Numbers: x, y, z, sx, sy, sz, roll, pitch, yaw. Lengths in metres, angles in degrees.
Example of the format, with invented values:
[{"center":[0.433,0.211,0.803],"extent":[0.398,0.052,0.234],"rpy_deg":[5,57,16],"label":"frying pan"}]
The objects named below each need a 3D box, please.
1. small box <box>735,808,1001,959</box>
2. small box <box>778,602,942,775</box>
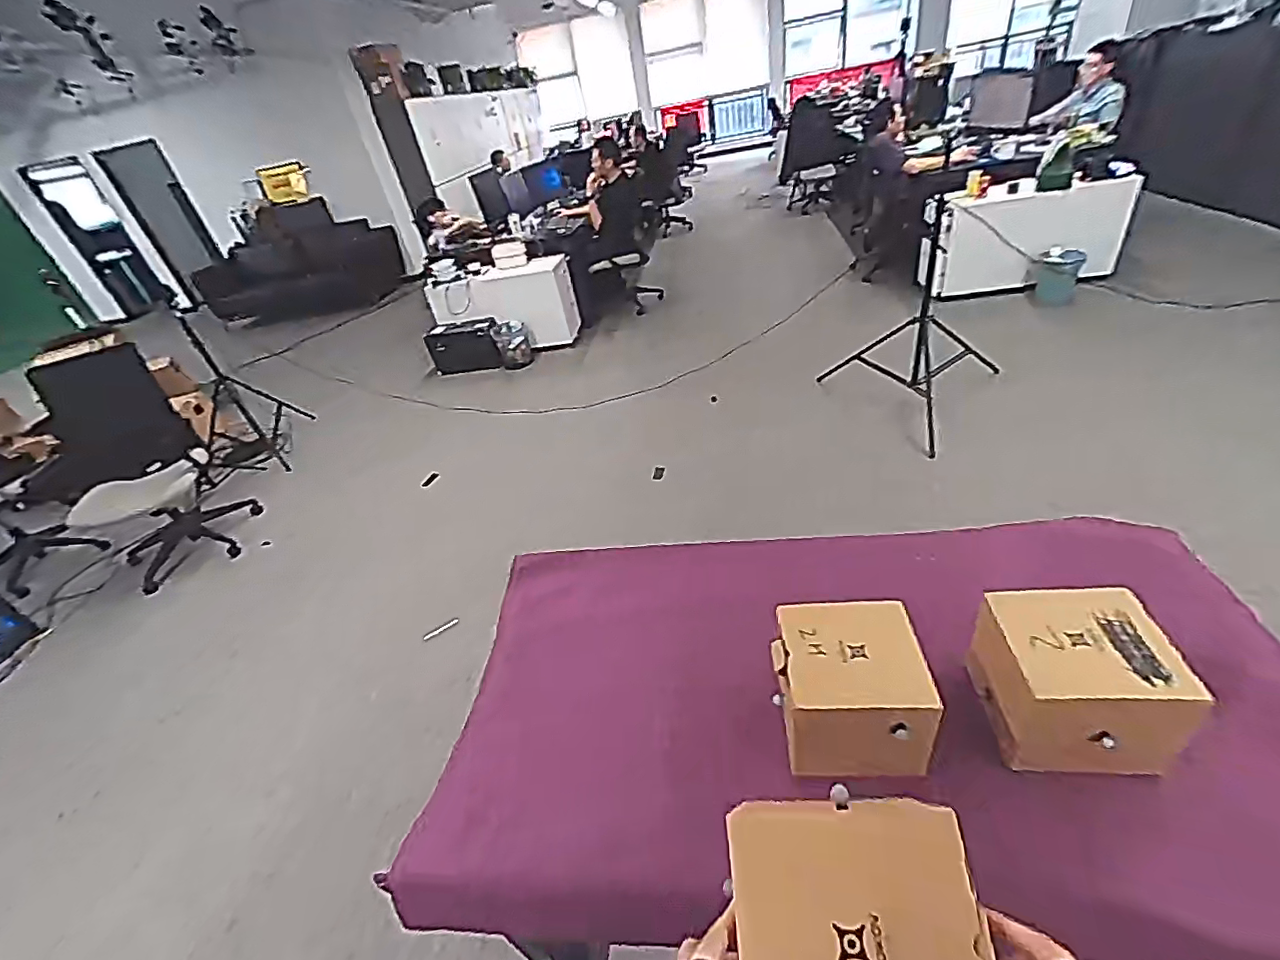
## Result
[{"center":[0.180,0.374,0.454],"extent":[0.179,0.176,0.168],"rpy_deg":[-7,58,10],"label":"small box"},{"center":[0.292,0.293,0.760],"extent":[0.179,0.176,0.168],"rpy_deg":[-6,35,10],"label":"small box"}]
